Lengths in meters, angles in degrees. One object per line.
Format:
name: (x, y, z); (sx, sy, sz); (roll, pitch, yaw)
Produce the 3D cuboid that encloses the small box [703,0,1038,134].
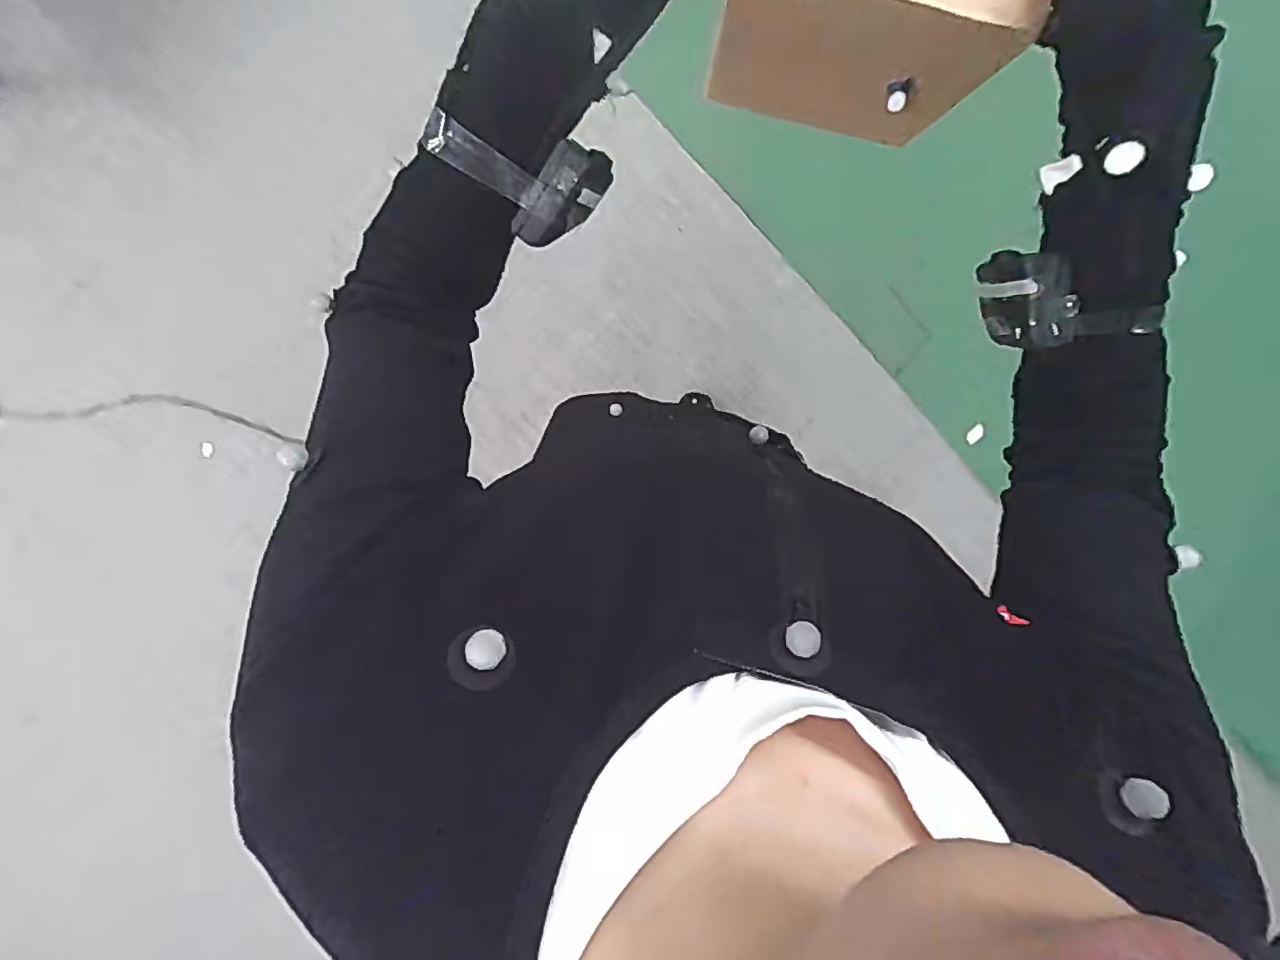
small box: (0.147, -0.360, 0.359); (0.179, 0.176, 0.168); (10, 101, 0)
